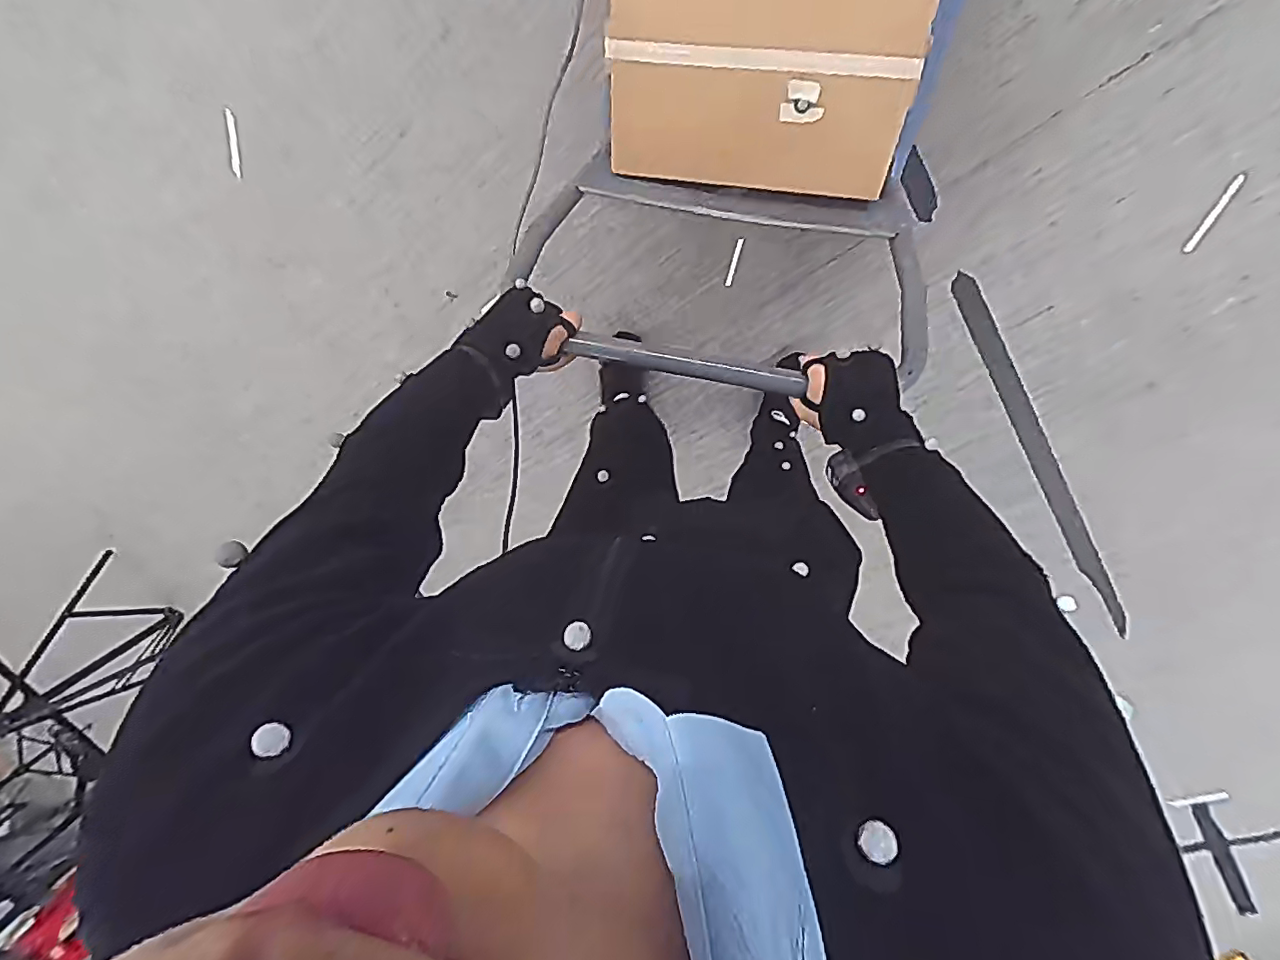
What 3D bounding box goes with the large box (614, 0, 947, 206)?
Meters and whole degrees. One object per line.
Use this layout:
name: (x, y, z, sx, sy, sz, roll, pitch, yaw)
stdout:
large box: (0.188, -0.635, 0.809, 0.408, 0.320, 0.320, 10, 134, 7)
